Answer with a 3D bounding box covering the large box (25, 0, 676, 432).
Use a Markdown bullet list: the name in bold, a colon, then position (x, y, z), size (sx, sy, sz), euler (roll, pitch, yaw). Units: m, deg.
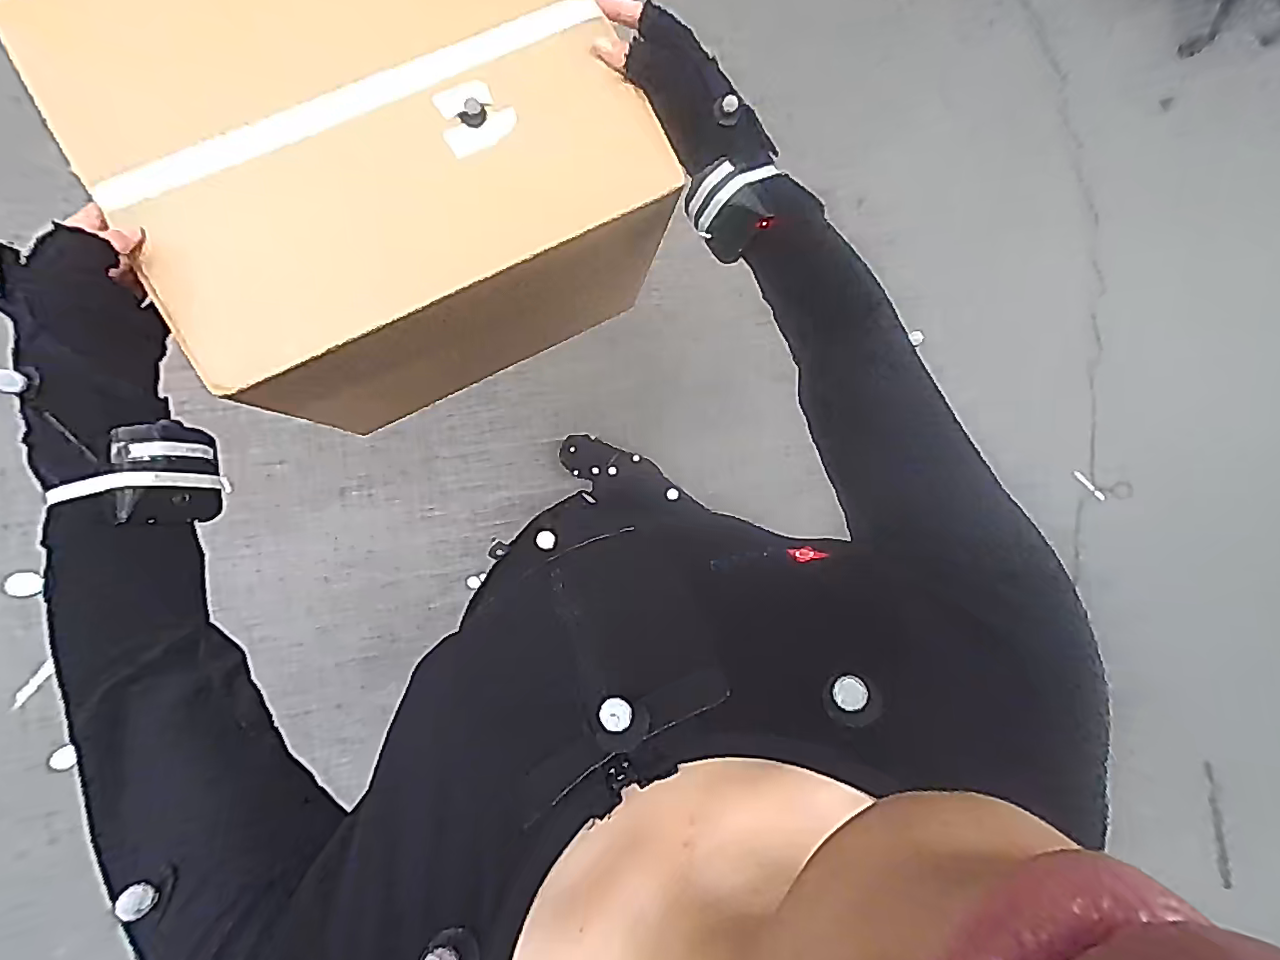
- **large box**: position (-0.232, -0.291, 0.575), size (0.408, 0.320, 0.320), euler (-30, 94, -9)
